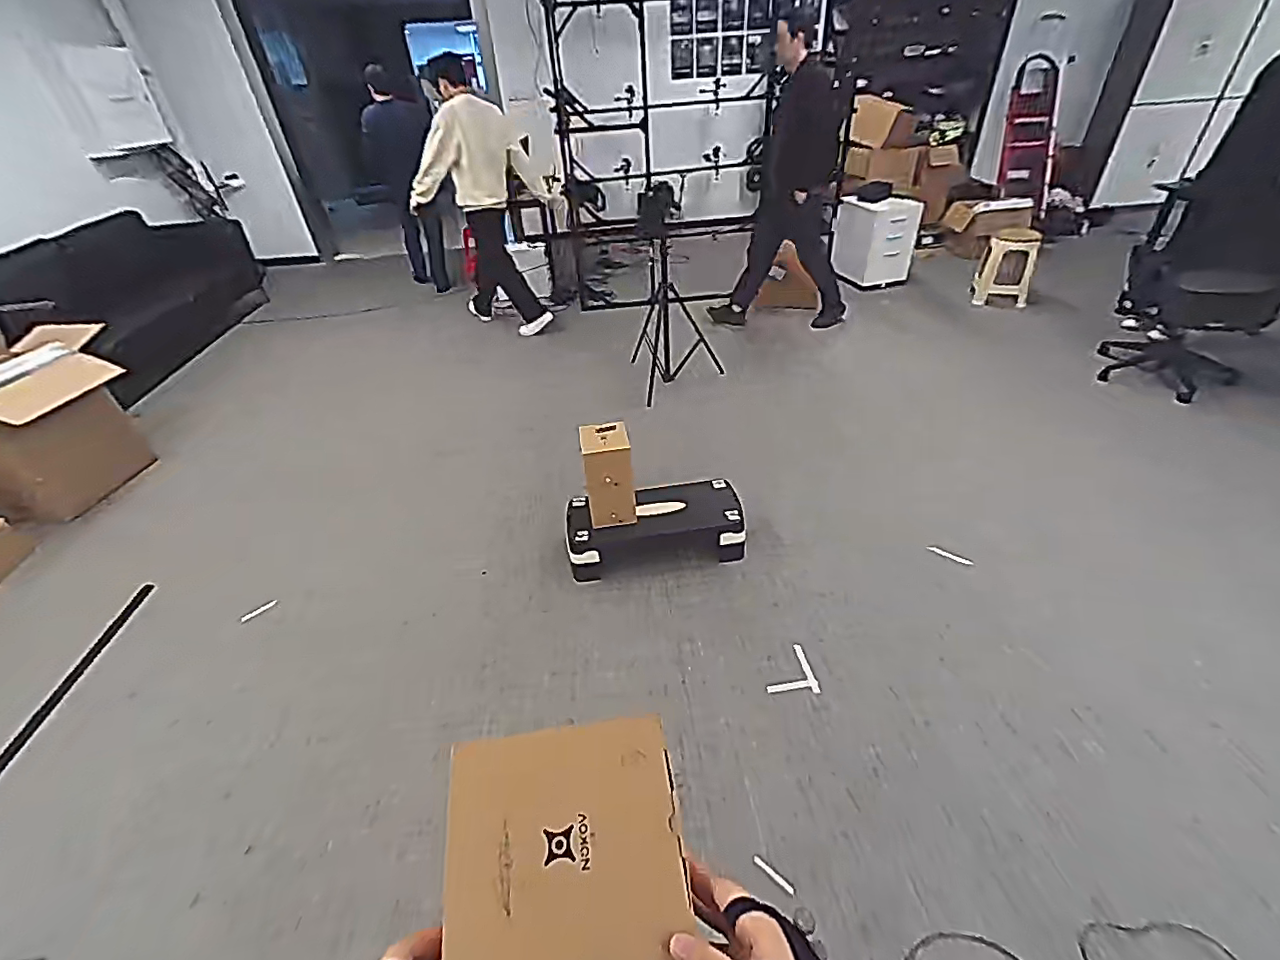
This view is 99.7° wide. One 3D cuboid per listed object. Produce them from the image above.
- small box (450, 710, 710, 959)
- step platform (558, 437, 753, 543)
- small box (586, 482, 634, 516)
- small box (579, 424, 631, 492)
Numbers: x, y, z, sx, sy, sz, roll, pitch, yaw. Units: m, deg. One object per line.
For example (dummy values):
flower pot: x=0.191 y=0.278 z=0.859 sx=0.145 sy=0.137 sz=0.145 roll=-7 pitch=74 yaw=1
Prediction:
small box: x=-0.049 y=0.314 z=0.464 sx=0.179 sy=0.176 sz=0.168 roll=-9 pitch=54 yaw=-4
step platform: x=0.054 y=0.035 z=1.968 sx=0.684 sy=0.204 sz=0.286 roll=-7 pitch=37 yaw=-4
small box: x=-0.113 y=0.055 z=2.016 sx=0.168 sy=0.176 sz=0.179 roll=-7 pitch=37 yaw=-4
small box: x=-0.125 y=-0.079 z=1.921 sx=0.168 sy=0.176 sz=0.179 roll=-8 pitch=38 yaw=-5
